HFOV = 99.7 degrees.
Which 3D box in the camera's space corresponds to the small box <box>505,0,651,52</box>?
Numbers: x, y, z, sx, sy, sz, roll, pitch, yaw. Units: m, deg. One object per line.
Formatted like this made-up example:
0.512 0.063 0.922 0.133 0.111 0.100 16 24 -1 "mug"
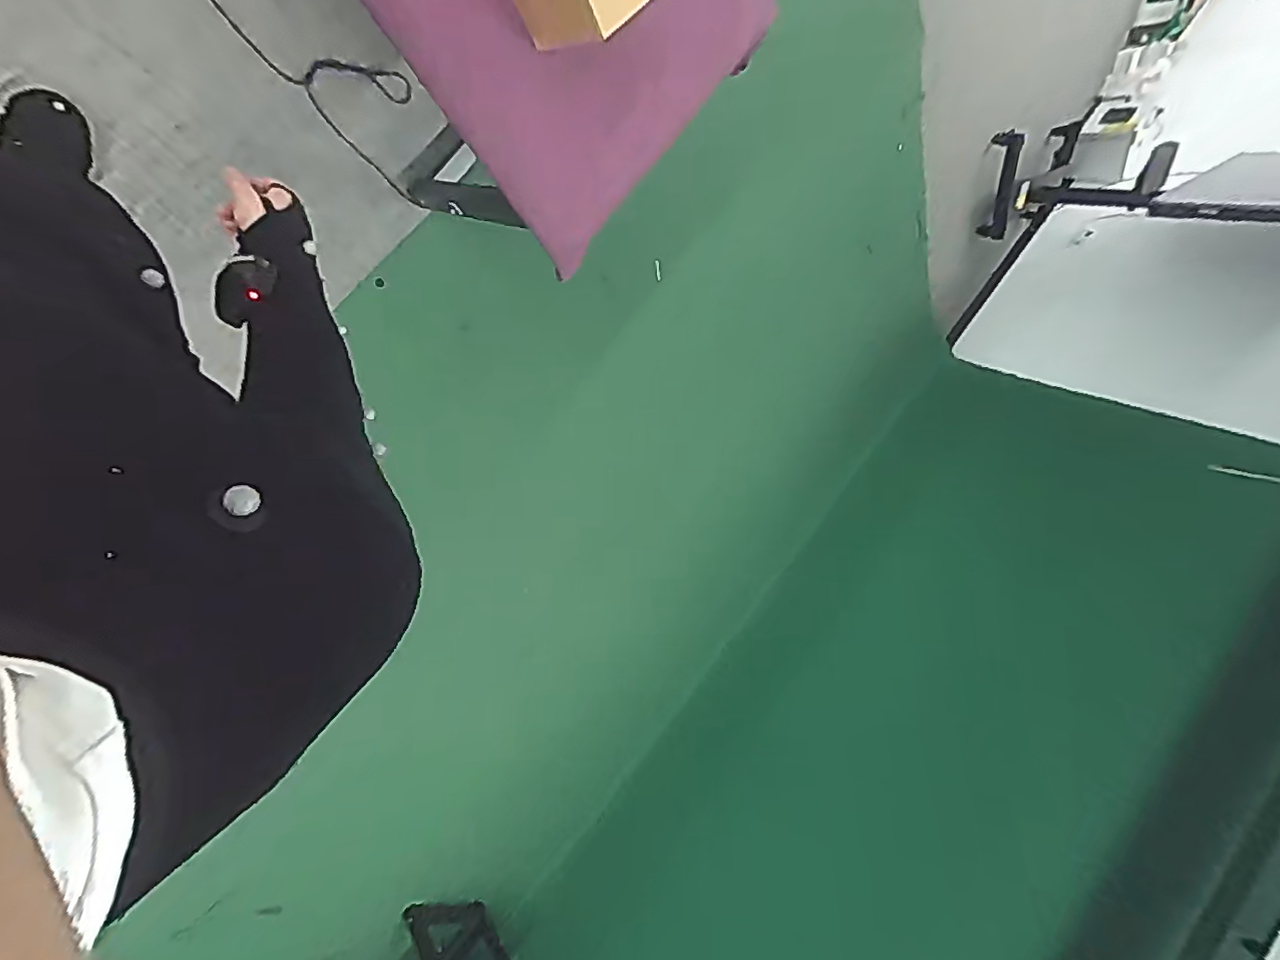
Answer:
-0.093 -0.714 0.725 0.168 0.176 0.179 -49 138 -11 "small box"
